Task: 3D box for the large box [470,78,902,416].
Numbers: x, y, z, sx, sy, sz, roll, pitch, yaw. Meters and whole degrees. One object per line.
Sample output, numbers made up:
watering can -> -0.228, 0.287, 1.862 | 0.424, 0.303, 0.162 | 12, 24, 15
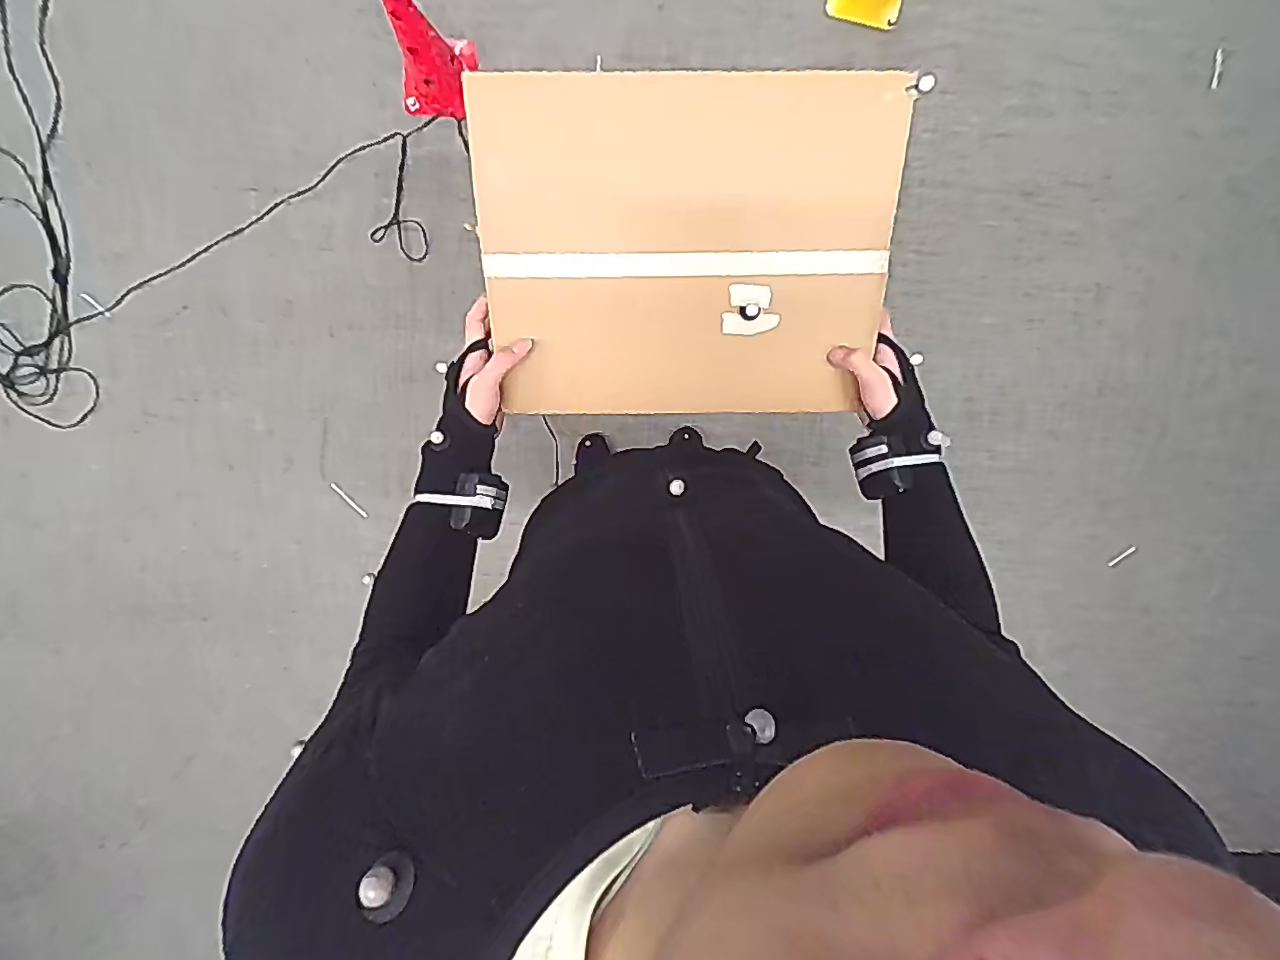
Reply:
large box -> 0.041, -0.277, 0.685 | 0.408, 0.320, 0.320 | -1, 114, -1
